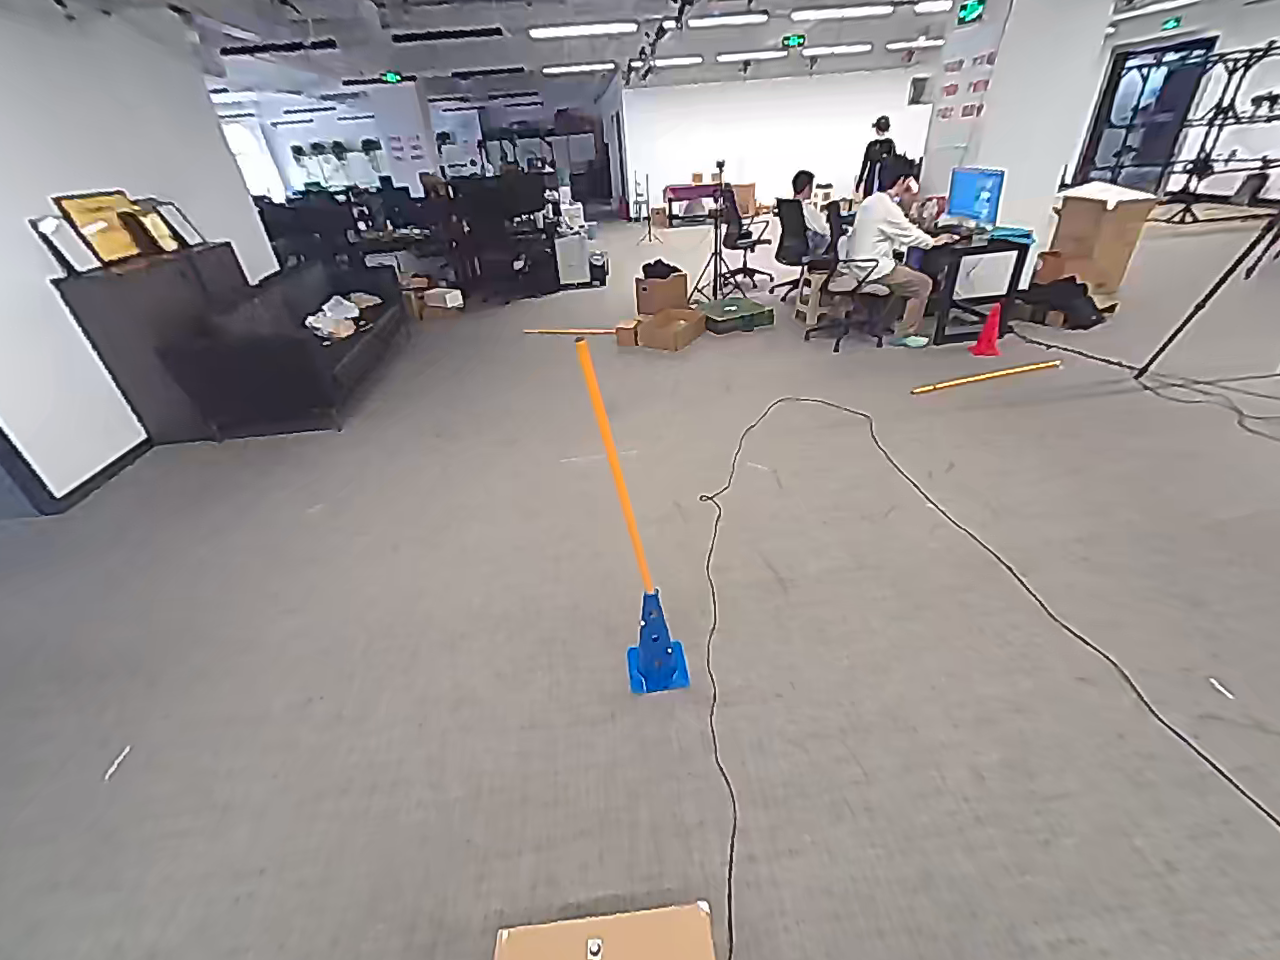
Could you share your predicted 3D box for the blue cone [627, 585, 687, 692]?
[{"bbox_3d":[0.041,0.502,1.776,0.193,0.380,0.192,-9,32,-4],"label":"blue cone"}]
